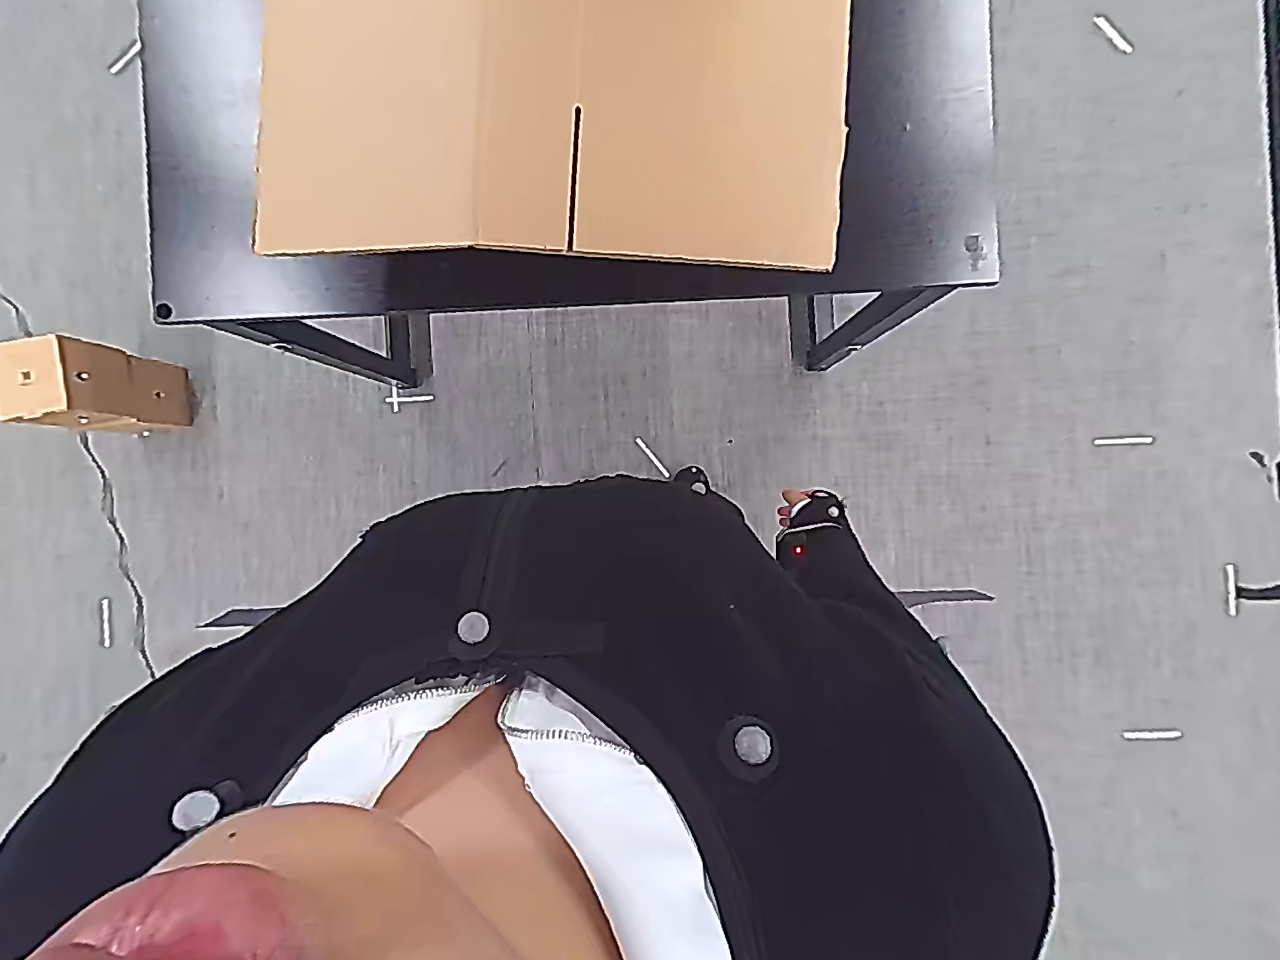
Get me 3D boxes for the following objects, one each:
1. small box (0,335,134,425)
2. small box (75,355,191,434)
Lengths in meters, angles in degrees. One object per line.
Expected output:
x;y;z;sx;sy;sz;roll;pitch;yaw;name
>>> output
-1.364;-0.229;1.287;0.168;0.176;0.179;-9;89;1;small box
-1.359;-0.224;1.450;0.168;0.176;0.179;-6;91;1;small box
